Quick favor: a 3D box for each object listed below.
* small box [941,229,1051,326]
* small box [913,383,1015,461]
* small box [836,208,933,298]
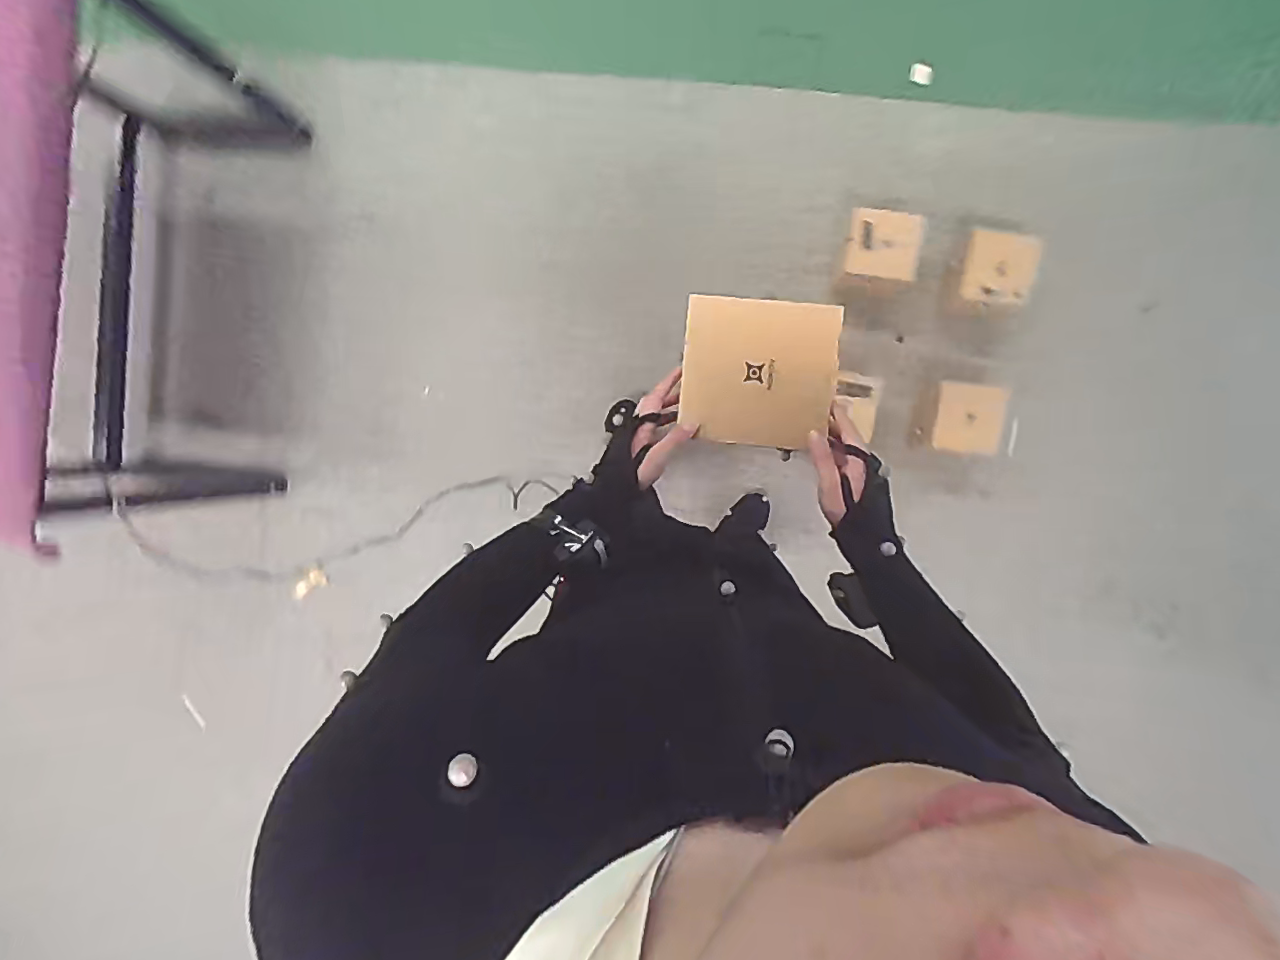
[{"bbox_3d":[0.919,-0.522,1.413,0.168,0.176,0.179,13,94,6],"label":"small box"},{"bbox_3d":[0.852,-0.152,1.442,0.168,0.176,0.179,10,94,5],"label":"small box"},{"bbox_3d":[0.641,-0.598,1.442,0.179,0.176,0.168,11,95,5],"label":"small box"}]
